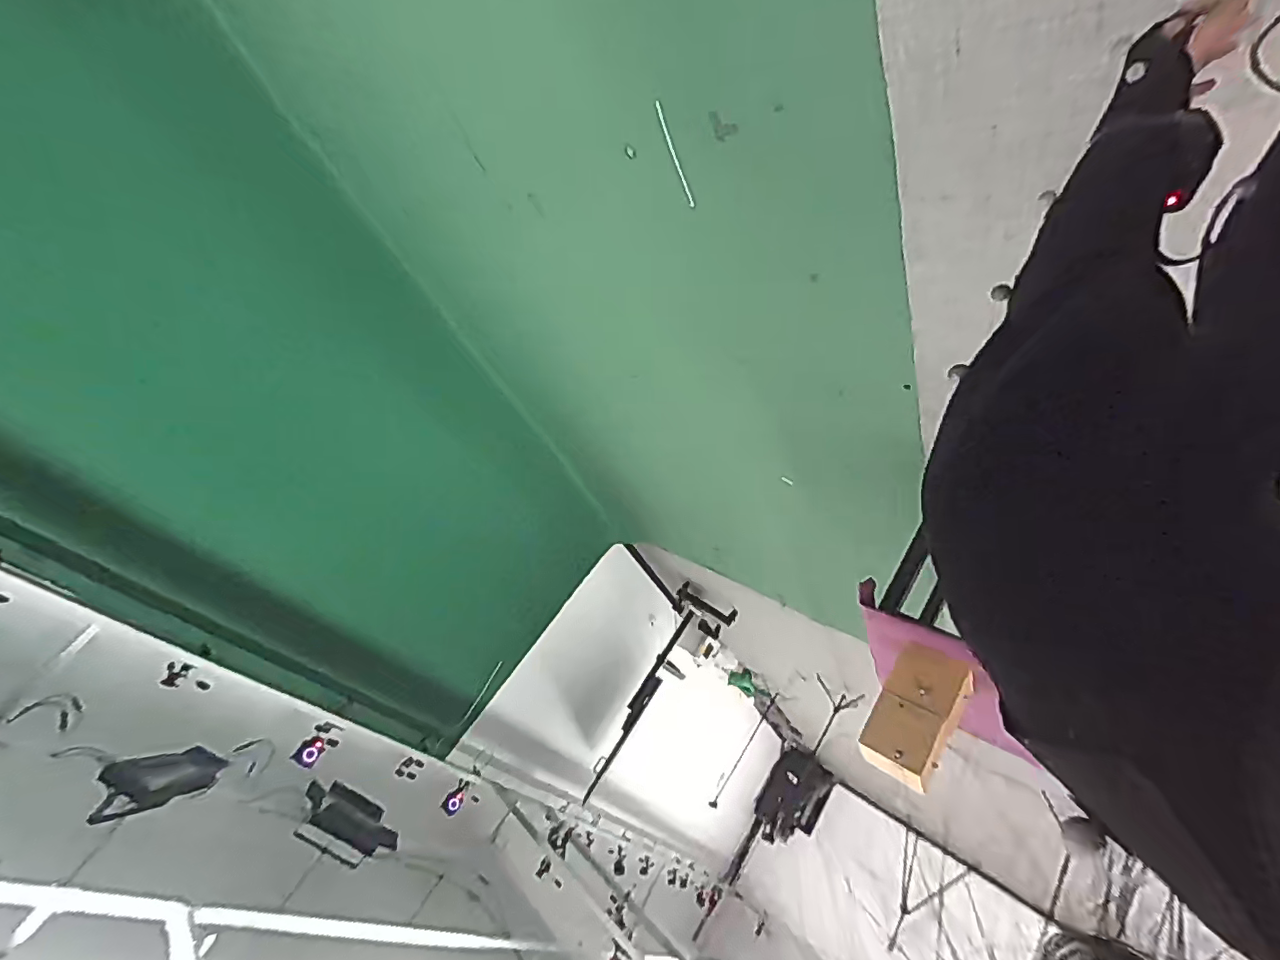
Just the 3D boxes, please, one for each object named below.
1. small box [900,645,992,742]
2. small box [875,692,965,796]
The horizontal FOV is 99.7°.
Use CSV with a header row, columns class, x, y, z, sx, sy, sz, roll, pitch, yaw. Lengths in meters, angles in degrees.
class,x,y,z,sx,sy,sz,roll,pitch,yaw
small box,0.862,0.590,1.519,0.179,0.176,0.168,17,151,44
small box,0.765,0.712,1.467,0.168,0.176,0.179,17,151,43
